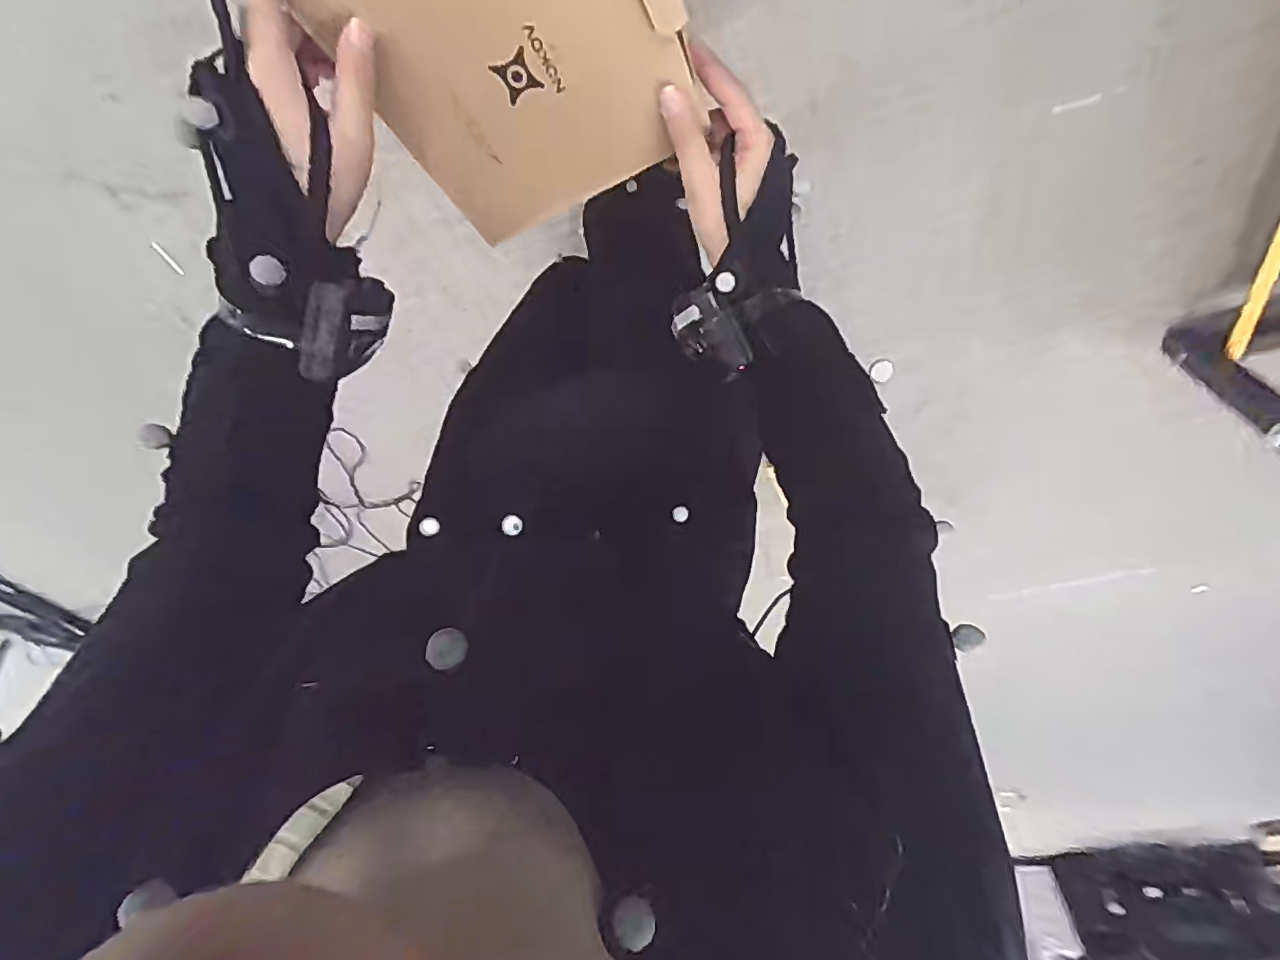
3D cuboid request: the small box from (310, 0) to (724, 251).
[{"bbox_3d":[-0.065,-0.295,0.345,0.179,0.176,0.168,-17,148,20],"label":"small box"}]
